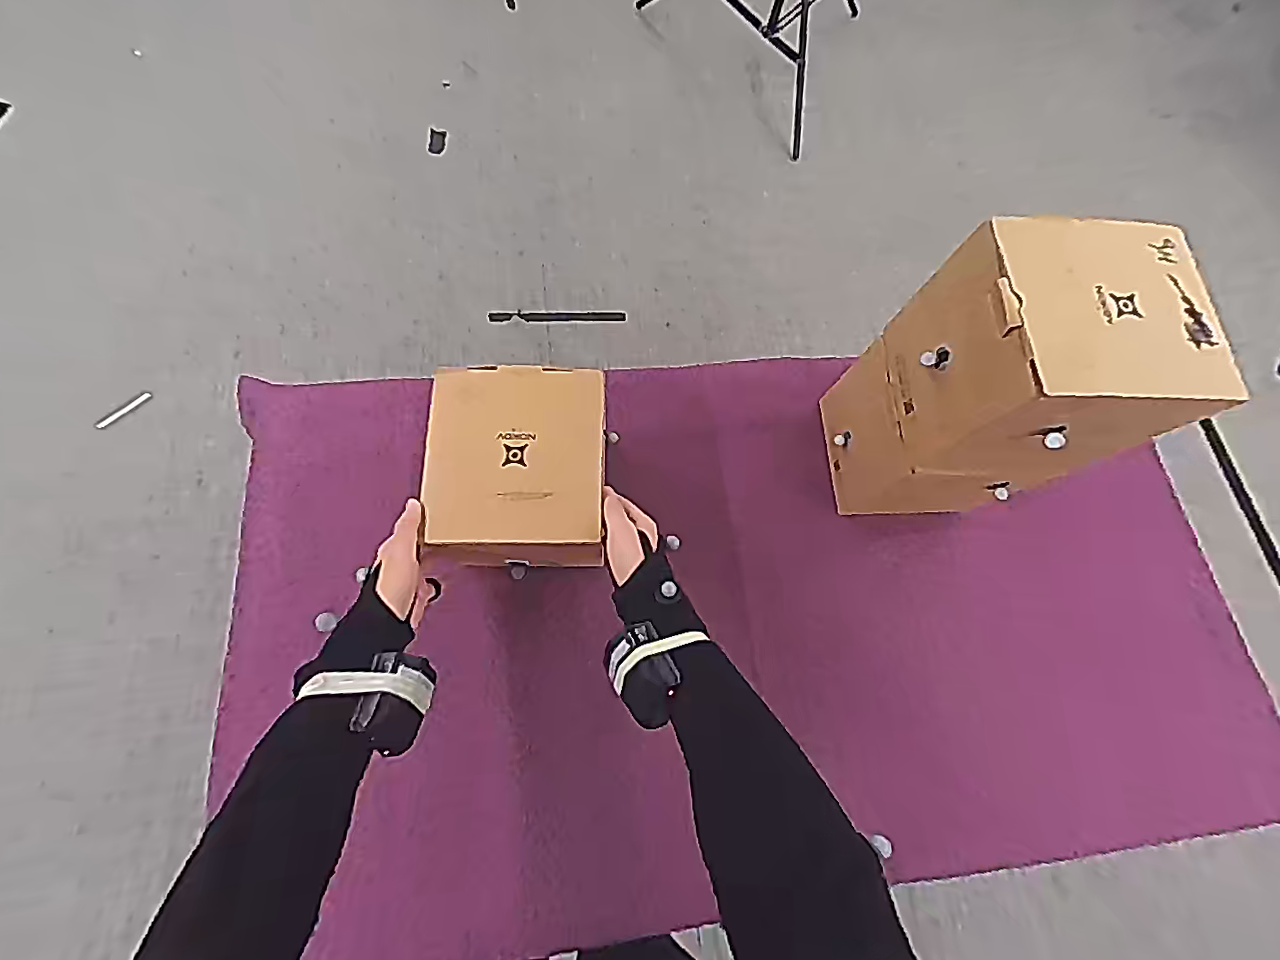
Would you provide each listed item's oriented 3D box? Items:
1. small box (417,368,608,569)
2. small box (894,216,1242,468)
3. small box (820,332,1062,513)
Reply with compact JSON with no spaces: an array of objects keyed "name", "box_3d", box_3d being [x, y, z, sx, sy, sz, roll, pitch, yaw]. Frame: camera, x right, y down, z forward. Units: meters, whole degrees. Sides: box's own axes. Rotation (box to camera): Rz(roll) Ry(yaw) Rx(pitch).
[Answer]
[{"name":"small box","box_3d":[-0.120,-0.003,0.580,0.168,0.176,0.179,-1,74,-2]},{"name":"small box","box_3d":[0.360,-0.114,0.500,0.179,0.176,0.168,0,72,-5]},{"name":"small box","box_3d":[0.344,-0.060,0.655,0.179,0.176,0.168,-1,72,-6]}]
